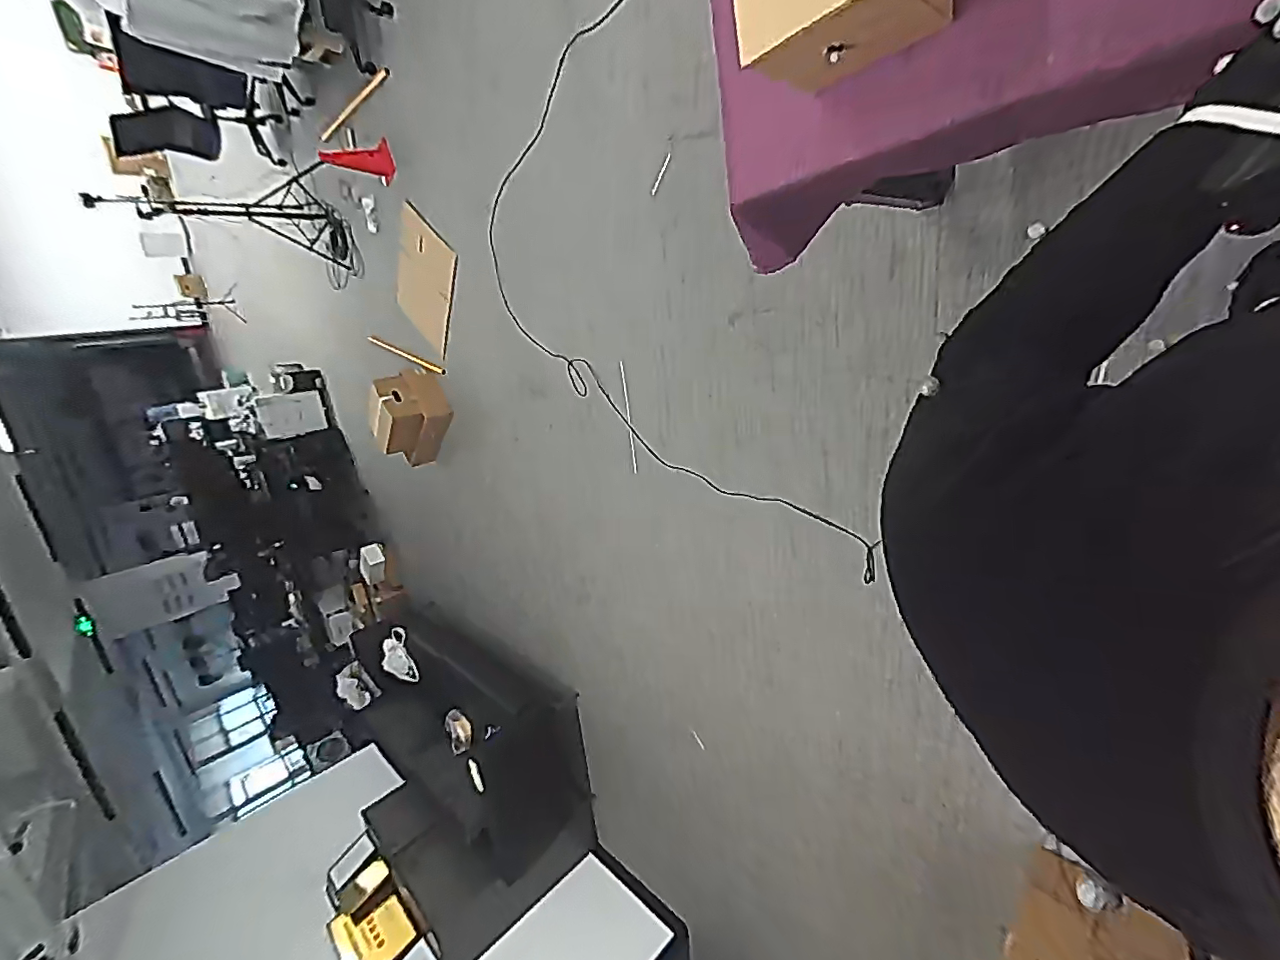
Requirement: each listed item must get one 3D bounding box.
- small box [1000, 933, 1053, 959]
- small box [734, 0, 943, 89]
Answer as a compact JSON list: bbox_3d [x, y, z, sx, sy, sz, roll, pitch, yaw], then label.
[{"bbox_3d":[0.928,1.235,1.269,0.168,0.176,0.179,21,123,43],"label":"small box"},{"bbox_3d":[0.221,-0.573,0.598,0.179,0.176,0.168,4,109,48],"label":"small box"}]
